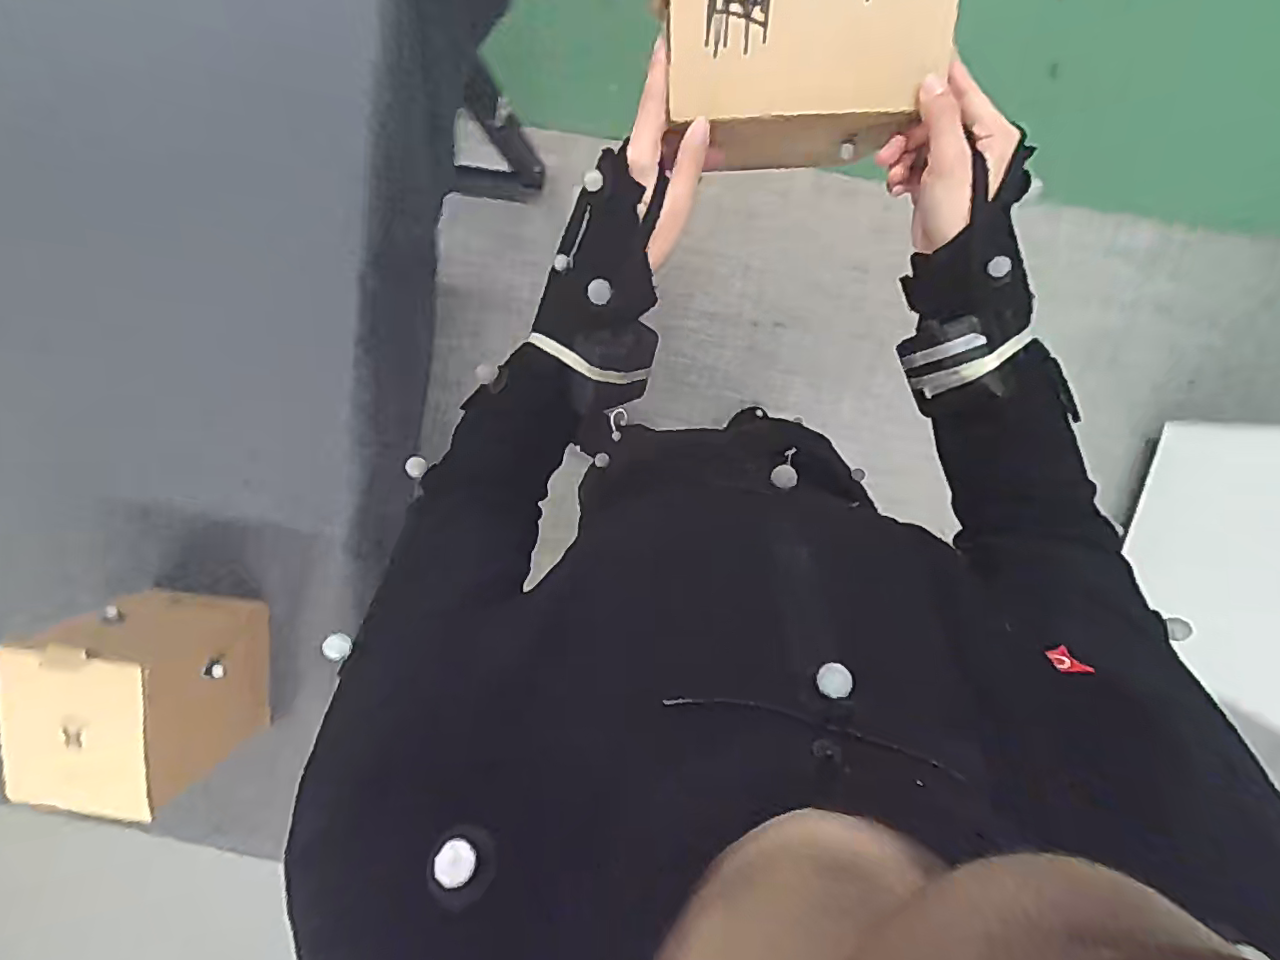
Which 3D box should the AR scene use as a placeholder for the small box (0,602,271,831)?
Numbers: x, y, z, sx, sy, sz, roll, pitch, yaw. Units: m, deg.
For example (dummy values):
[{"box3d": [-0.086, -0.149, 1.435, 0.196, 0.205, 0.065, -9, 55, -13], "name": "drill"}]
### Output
[{"box3d": [-0.560, 0.254, 0.620, 0.168, 0.176, 0.179, 5, 99, 5], "name": "small box"}]
